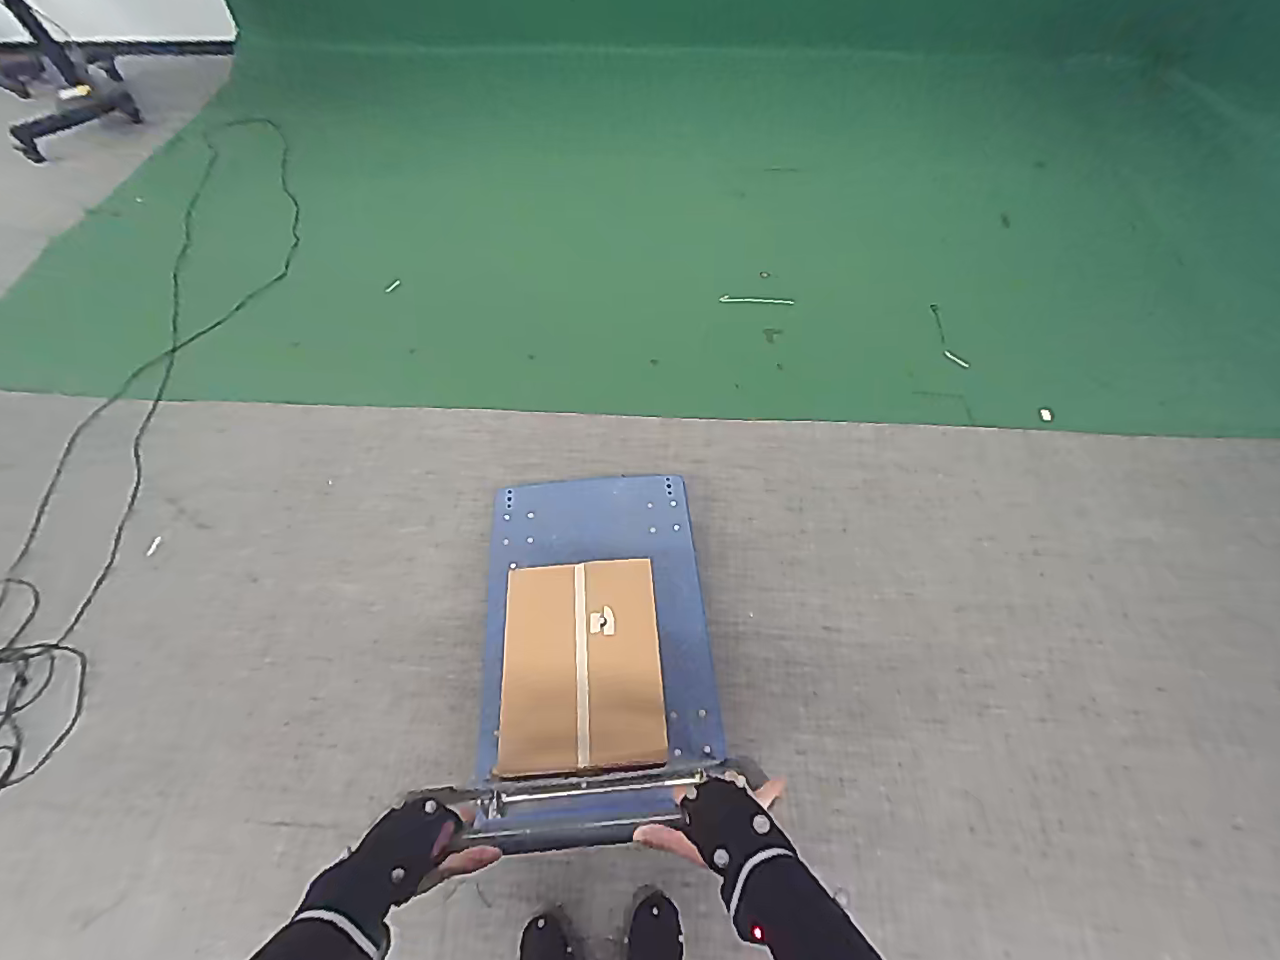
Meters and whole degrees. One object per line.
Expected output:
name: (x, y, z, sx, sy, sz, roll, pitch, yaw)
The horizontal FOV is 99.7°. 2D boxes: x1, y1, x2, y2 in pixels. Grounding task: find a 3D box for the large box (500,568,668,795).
large box: (-0.116, 0.455, 1.215, 0.320, 0.320, 0.408, -4, 56, -2)
